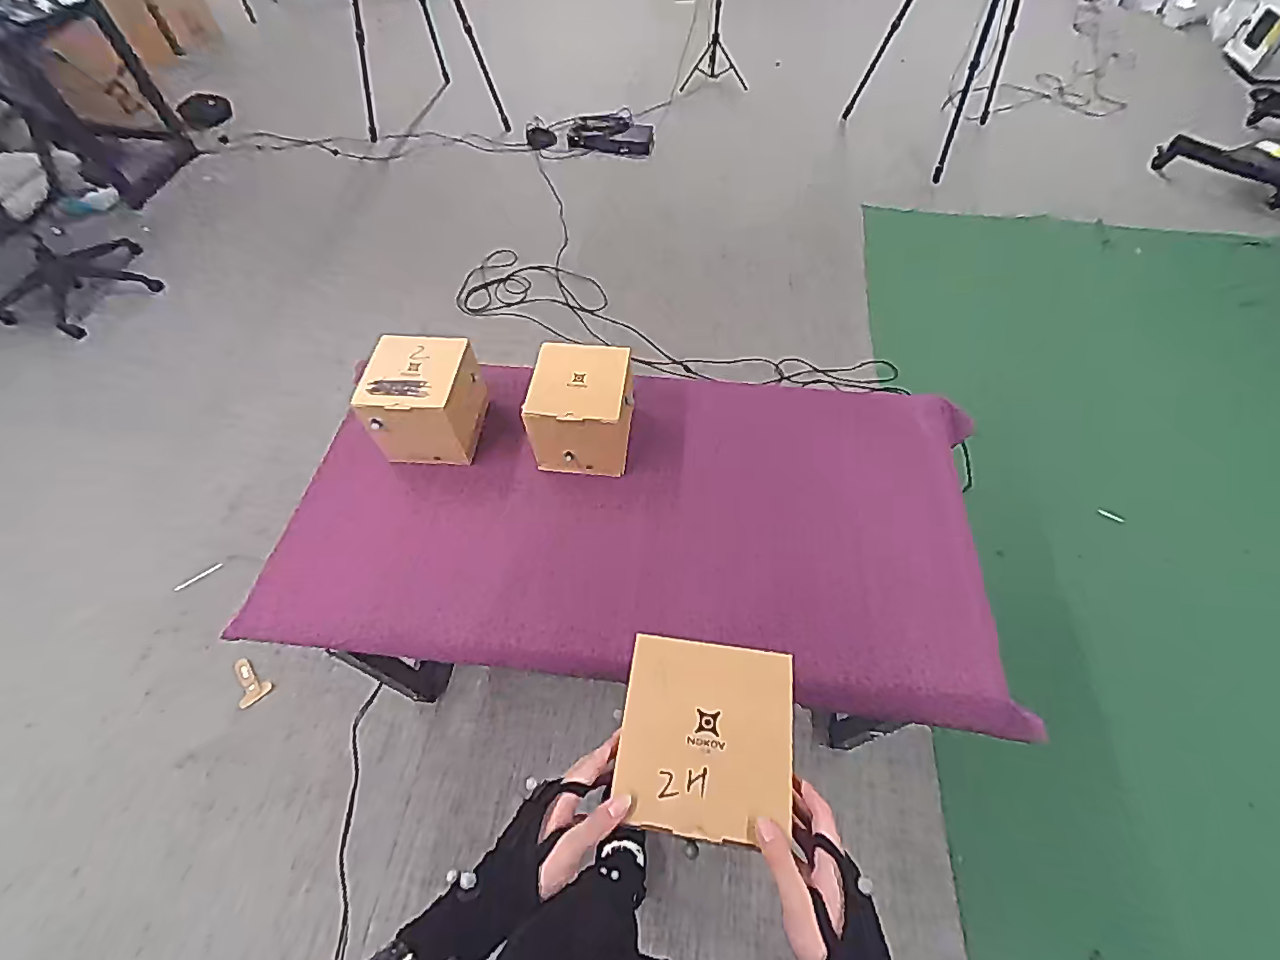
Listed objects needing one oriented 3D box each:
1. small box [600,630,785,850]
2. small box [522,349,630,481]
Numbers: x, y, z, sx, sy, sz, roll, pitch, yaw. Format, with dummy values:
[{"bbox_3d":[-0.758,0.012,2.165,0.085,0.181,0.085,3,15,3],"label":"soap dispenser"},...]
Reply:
[{"bbox_3d":[0.061,0.288,0.596,0.168,0.176,0.179,6,56,9],"label":"small box"},{"bbox_3d":[-0.110,-0.120,1.019,0.168,0.176,0.179,4,58,4],"label":"small box"}]
